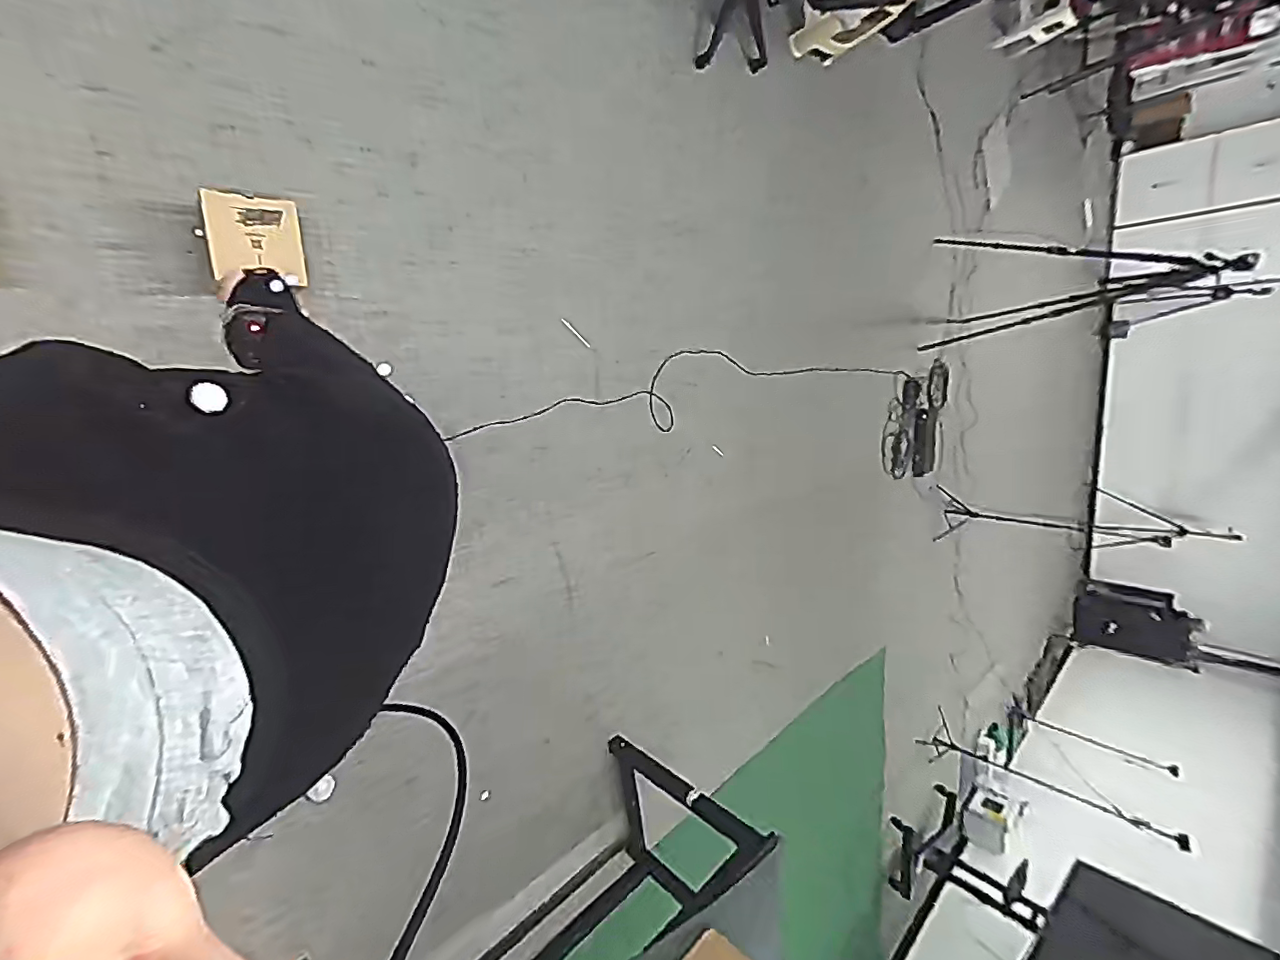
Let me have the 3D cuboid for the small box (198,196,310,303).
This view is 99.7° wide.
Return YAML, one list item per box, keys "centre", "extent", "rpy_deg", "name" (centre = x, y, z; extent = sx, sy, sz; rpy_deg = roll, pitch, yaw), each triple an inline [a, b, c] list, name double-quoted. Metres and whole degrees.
- centre: [-0.841, -0.490, 1.176]
  extent: [0.168, 0.176, 0.179]
  rpy_deg: [-13, 105, -39]
  name: "small box"
